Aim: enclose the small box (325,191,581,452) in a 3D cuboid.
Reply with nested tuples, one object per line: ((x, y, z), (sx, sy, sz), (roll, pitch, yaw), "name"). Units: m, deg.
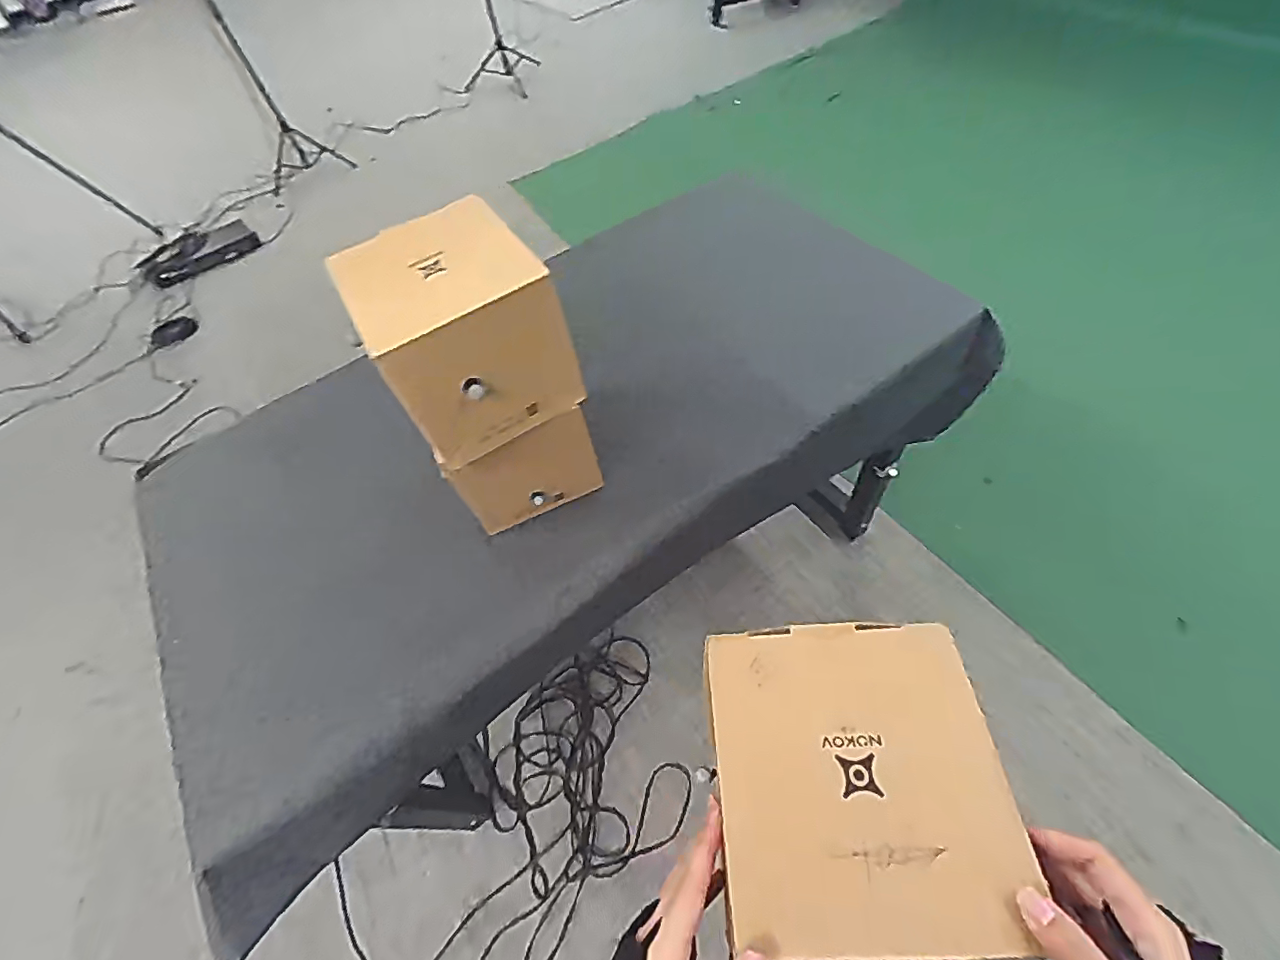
((-0.179, -0.152, 0.557), (0.168, 0.176, 0.179), (-31, 58, -12), "small box")

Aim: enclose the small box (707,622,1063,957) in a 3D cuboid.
((0.136, 0.217, 0.387), (0.168, 0.176, 0.179), (-3, 54, 4), "small box")
